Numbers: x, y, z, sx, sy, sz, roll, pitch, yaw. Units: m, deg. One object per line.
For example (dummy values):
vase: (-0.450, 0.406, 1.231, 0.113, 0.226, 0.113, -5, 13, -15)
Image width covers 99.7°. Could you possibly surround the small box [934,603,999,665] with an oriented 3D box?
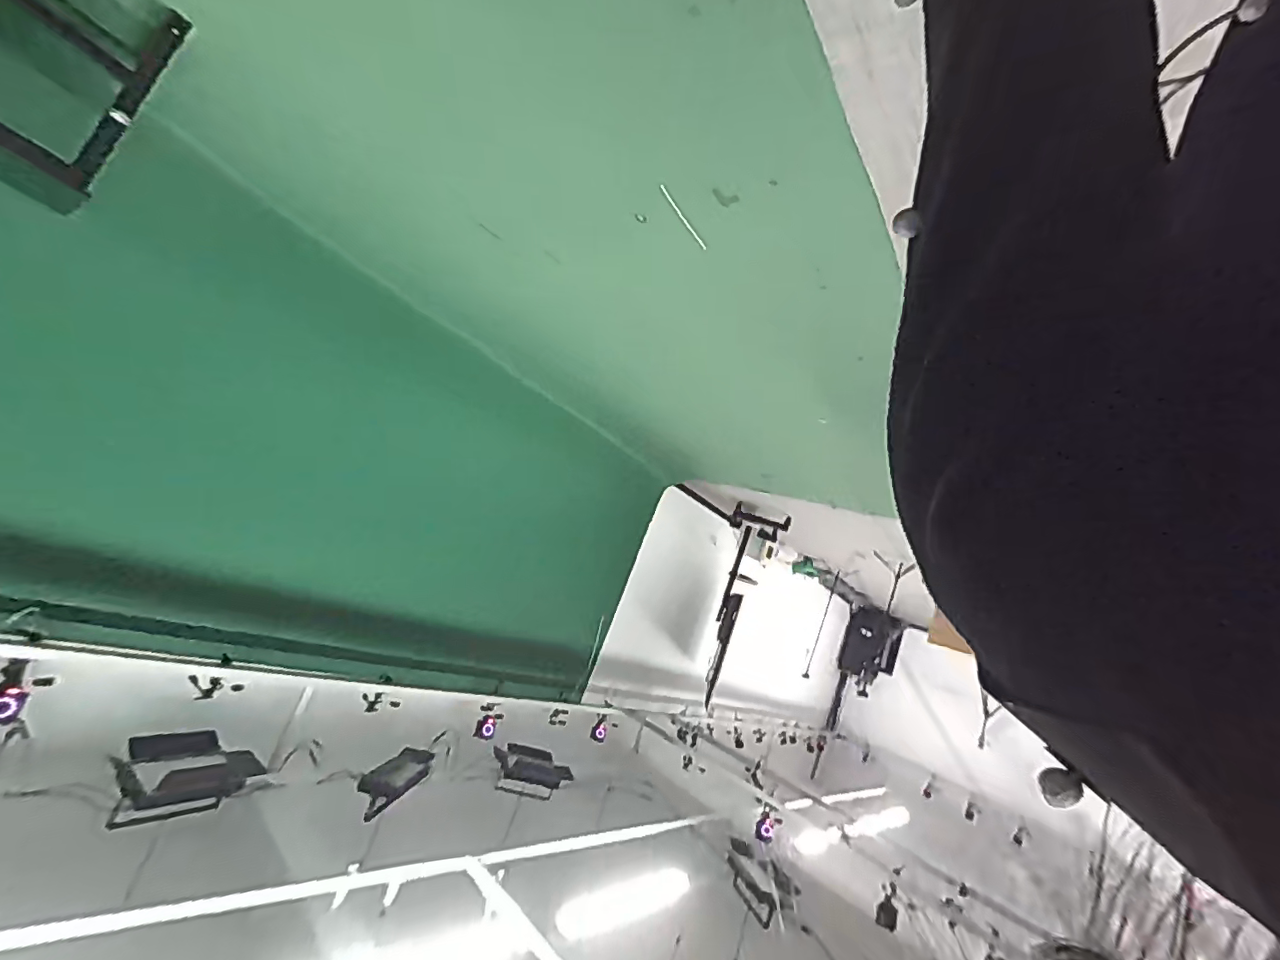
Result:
small box: (1.232, 0.578, 2.035, 0.168, 0.176, 0.179, 9, 165, 43)
